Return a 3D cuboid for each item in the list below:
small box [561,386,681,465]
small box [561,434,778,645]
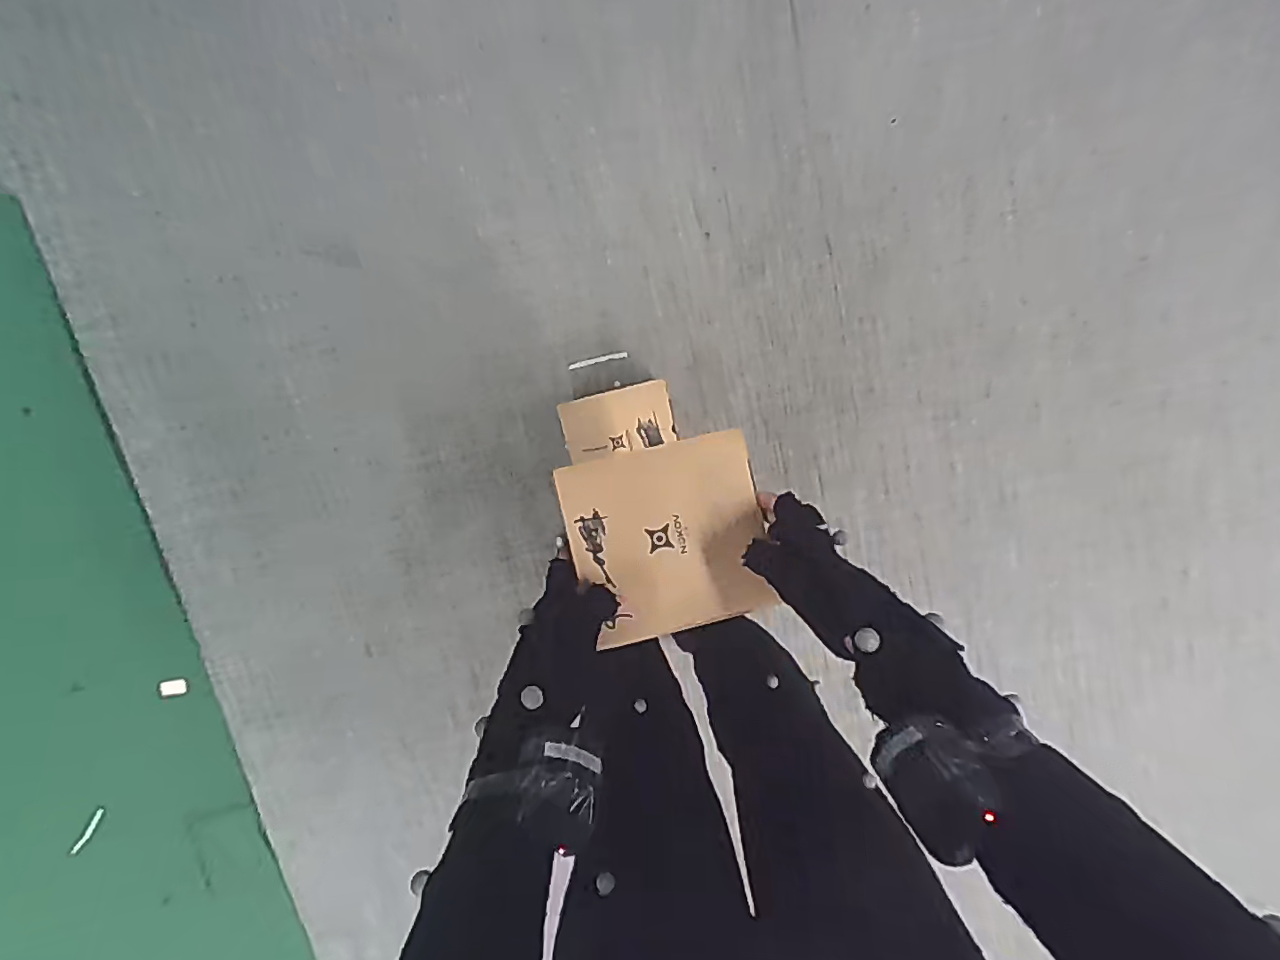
[{"bbox_3d":[-0.025,-0.065,0.931,0.179,0.176,0.168,-14,99,1],"label":"small box"},{"bbox_3d":[0.020,0.053,0.569,0.179,0.176,0.168,-12,89,-5],"label":"small box"}]
